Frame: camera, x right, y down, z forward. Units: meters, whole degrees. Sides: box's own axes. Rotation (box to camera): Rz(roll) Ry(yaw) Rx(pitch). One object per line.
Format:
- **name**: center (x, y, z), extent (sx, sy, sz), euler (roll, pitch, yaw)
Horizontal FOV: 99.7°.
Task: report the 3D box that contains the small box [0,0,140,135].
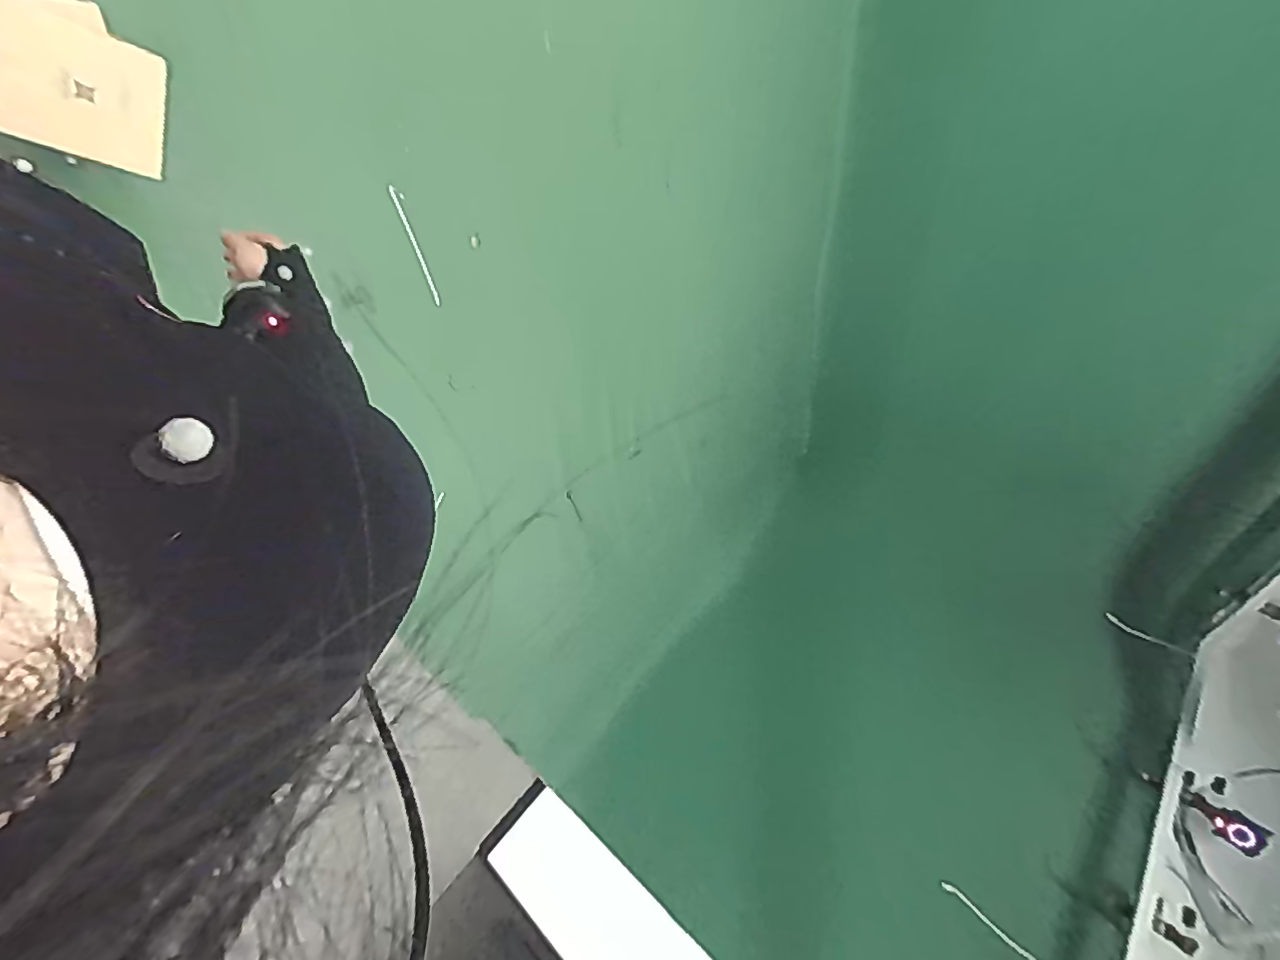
- **small box**: center (-0.938, -0.640, 0.840), extent (0.179, 0.176, 0.168), euler (-30, 136, -40)
